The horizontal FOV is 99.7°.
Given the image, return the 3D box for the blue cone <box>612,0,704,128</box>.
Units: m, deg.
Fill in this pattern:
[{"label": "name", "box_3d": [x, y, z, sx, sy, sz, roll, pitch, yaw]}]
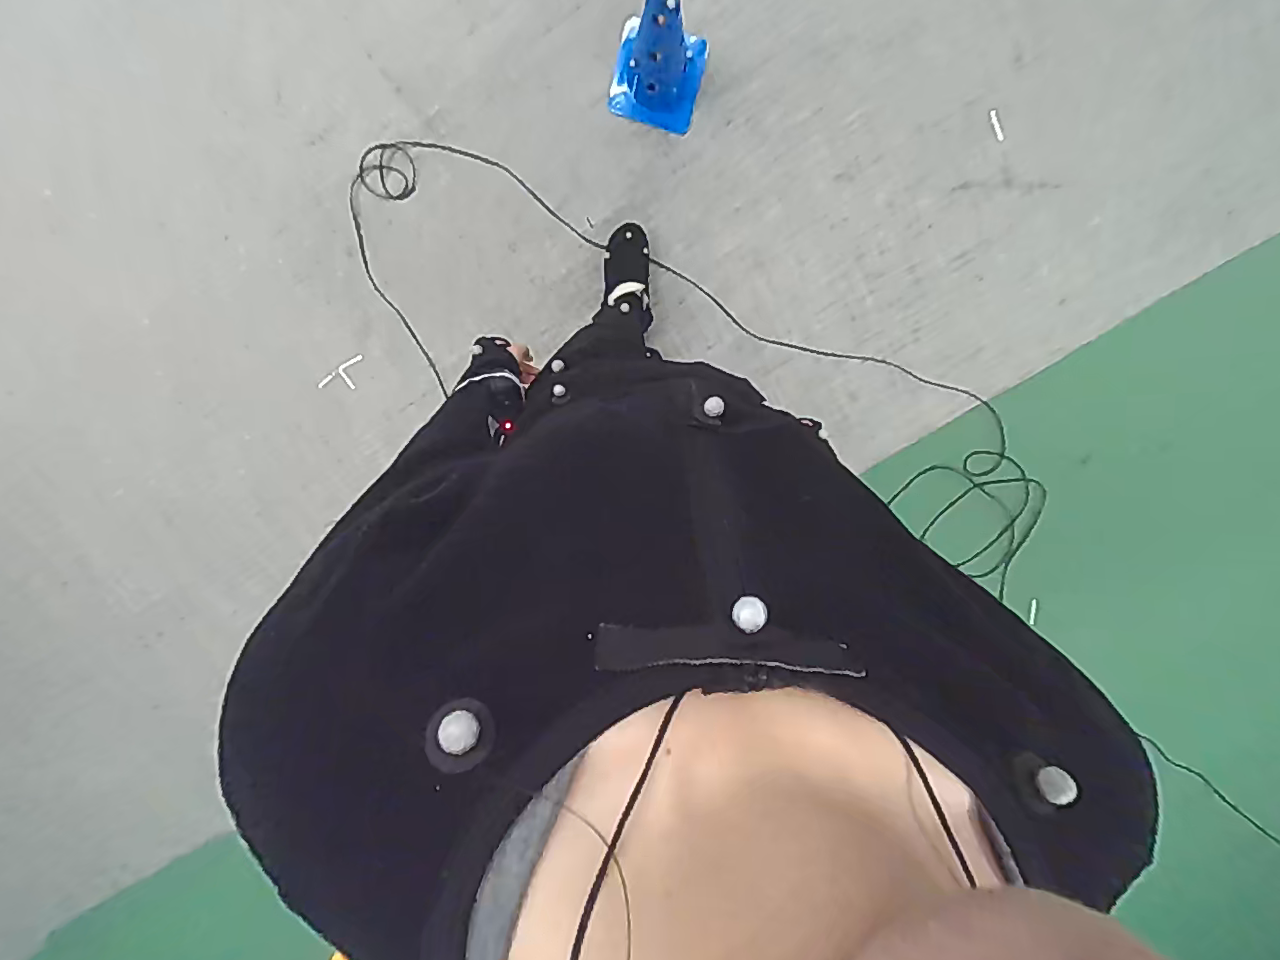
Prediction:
[{"label": "blue cone", "box_3d": [0.040, -0.880, 1.069, 0.192, 0.380, 0.193, 13, 104, -4]}]
